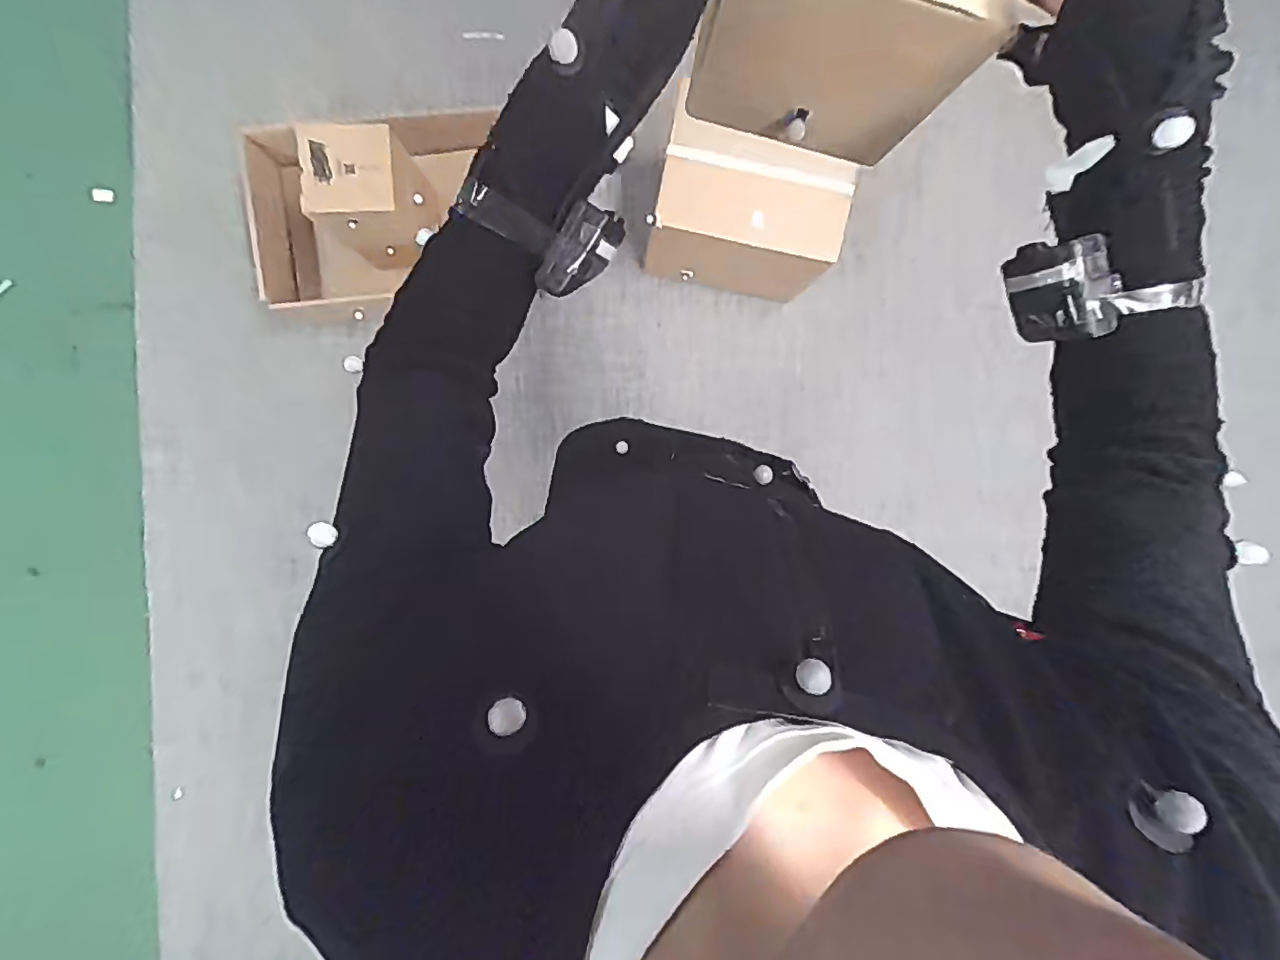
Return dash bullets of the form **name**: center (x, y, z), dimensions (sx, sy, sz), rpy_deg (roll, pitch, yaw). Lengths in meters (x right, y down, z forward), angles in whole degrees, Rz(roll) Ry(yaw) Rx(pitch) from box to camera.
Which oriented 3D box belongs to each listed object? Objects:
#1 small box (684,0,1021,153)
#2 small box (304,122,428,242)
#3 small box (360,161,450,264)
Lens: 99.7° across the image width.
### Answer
- **small box**: center (0.143, -0.367, 0.381), dimensions (0.179, 0.176, 0.168), rpy_deg (11, 93, -7)
- **small box**: center (-0.558, -0.607, 1.119), dimensions (0.179, 0.176, 0.168), rpy_deg (-3, 93, -4)
- **small box**: center (-0.569, -0.626, 1.283), dimensions (0.179, 0.176, 0.168), rpy_deg (-6, 93, -4)
